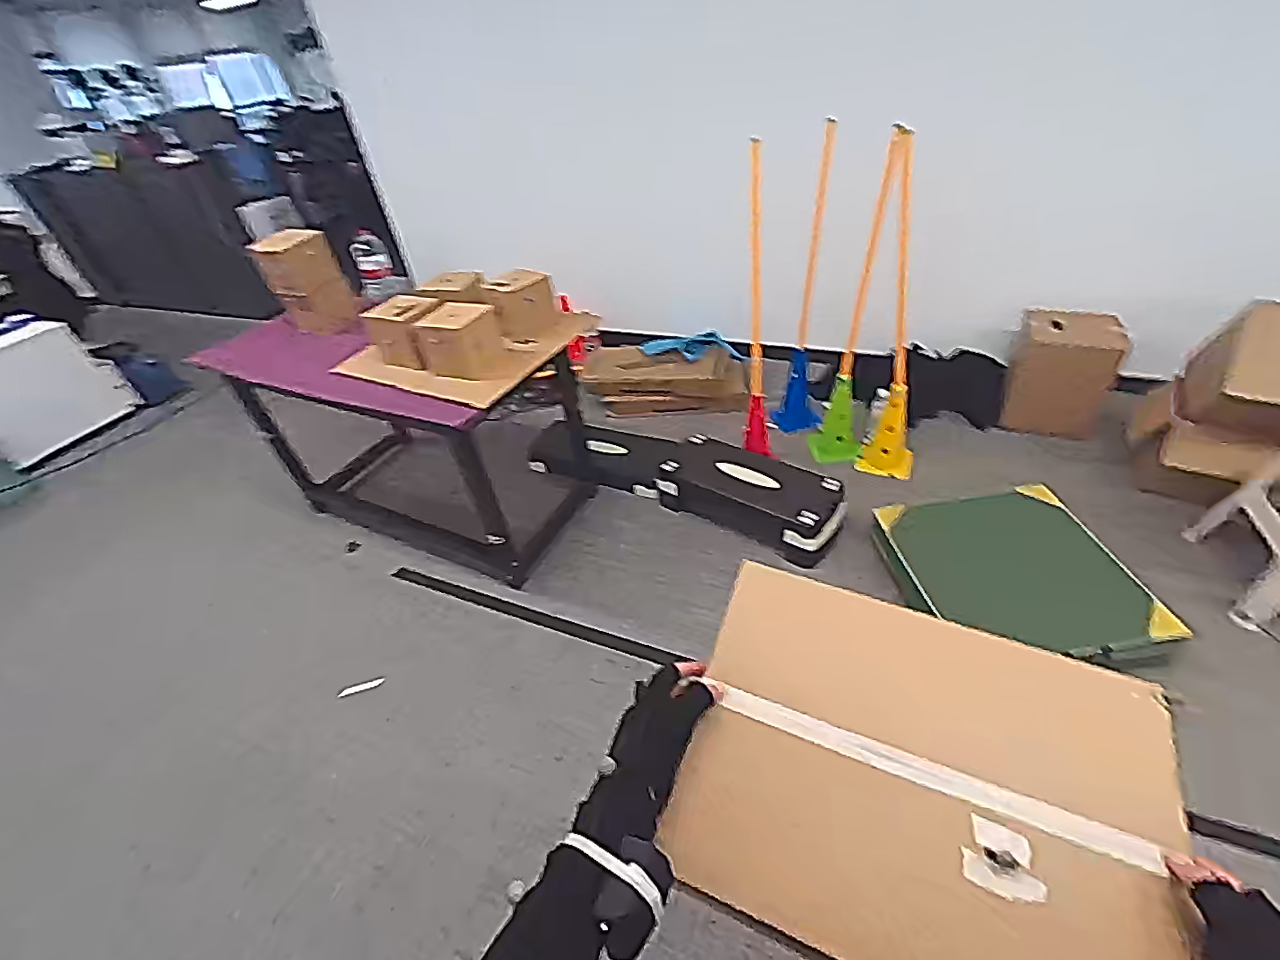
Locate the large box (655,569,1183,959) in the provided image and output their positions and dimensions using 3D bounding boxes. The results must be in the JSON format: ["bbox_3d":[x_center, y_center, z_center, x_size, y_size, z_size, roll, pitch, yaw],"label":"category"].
[{"bbox_3d":[0.259,0.357,0.615,0.408,0.320,0.320,16,56,17],"label":"large box"}]
